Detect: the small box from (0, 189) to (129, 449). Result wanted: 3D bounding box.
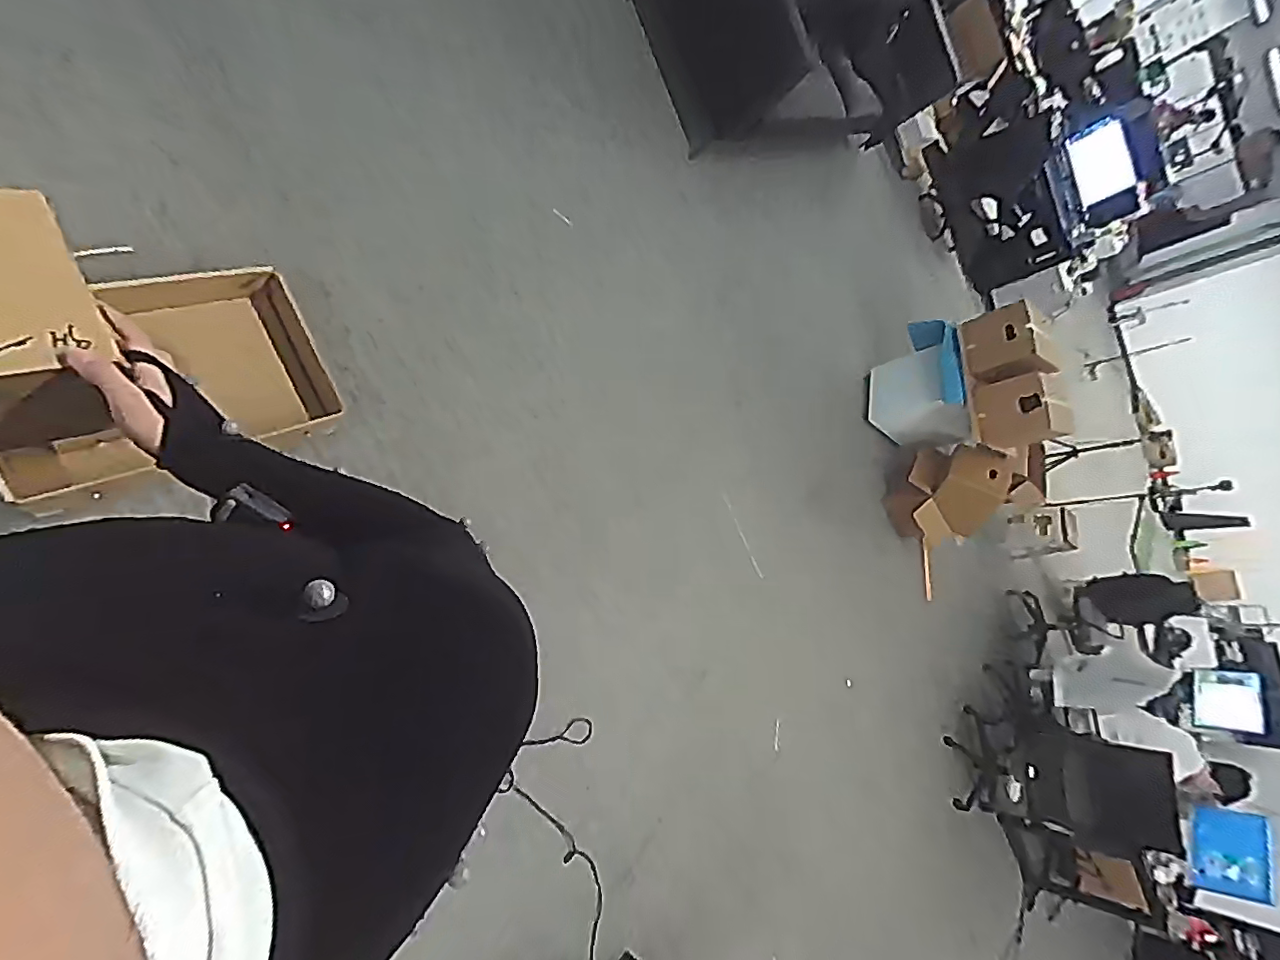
[{"bbox_3d":[-0.615,-0.139,0.498,0.168,0.176,0.179,-27,92,-43],"label":"small box"}]
